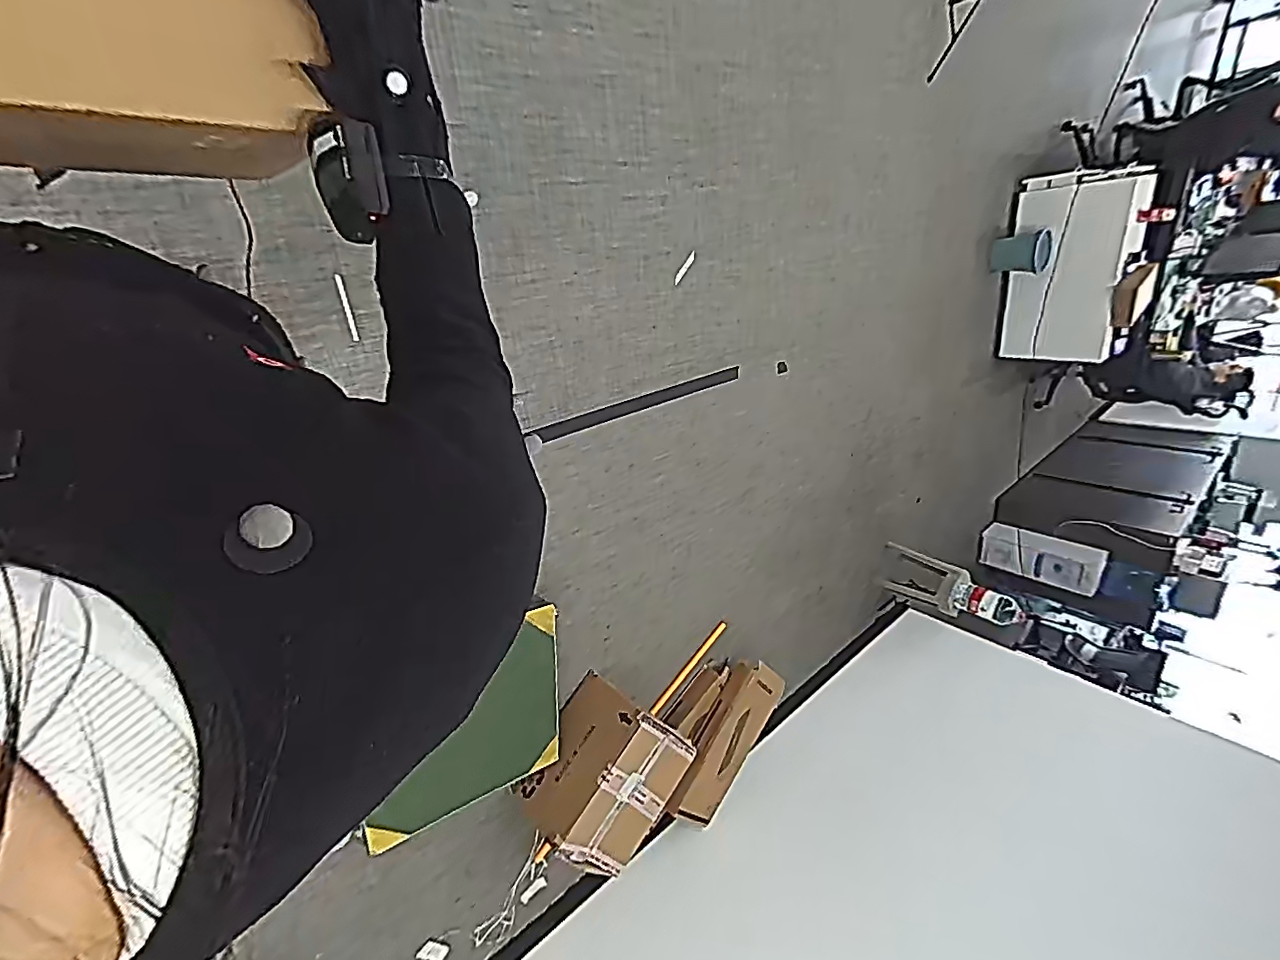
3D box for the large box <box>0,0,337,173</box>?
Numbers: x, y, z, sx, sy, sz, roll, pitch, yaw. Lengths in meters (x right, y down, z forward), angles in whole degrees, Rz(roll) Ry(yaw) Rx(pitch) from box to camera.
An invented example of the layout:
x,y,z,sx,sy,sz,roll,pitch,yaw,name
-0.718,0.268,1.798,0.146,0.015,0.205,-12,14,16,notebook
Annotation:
x,y,z,sx,sy,sz,roll,pitch,yaw,name
-0.466,-0.374,0.310,0.408,0.320,0.320,-20,121,-37,large box
